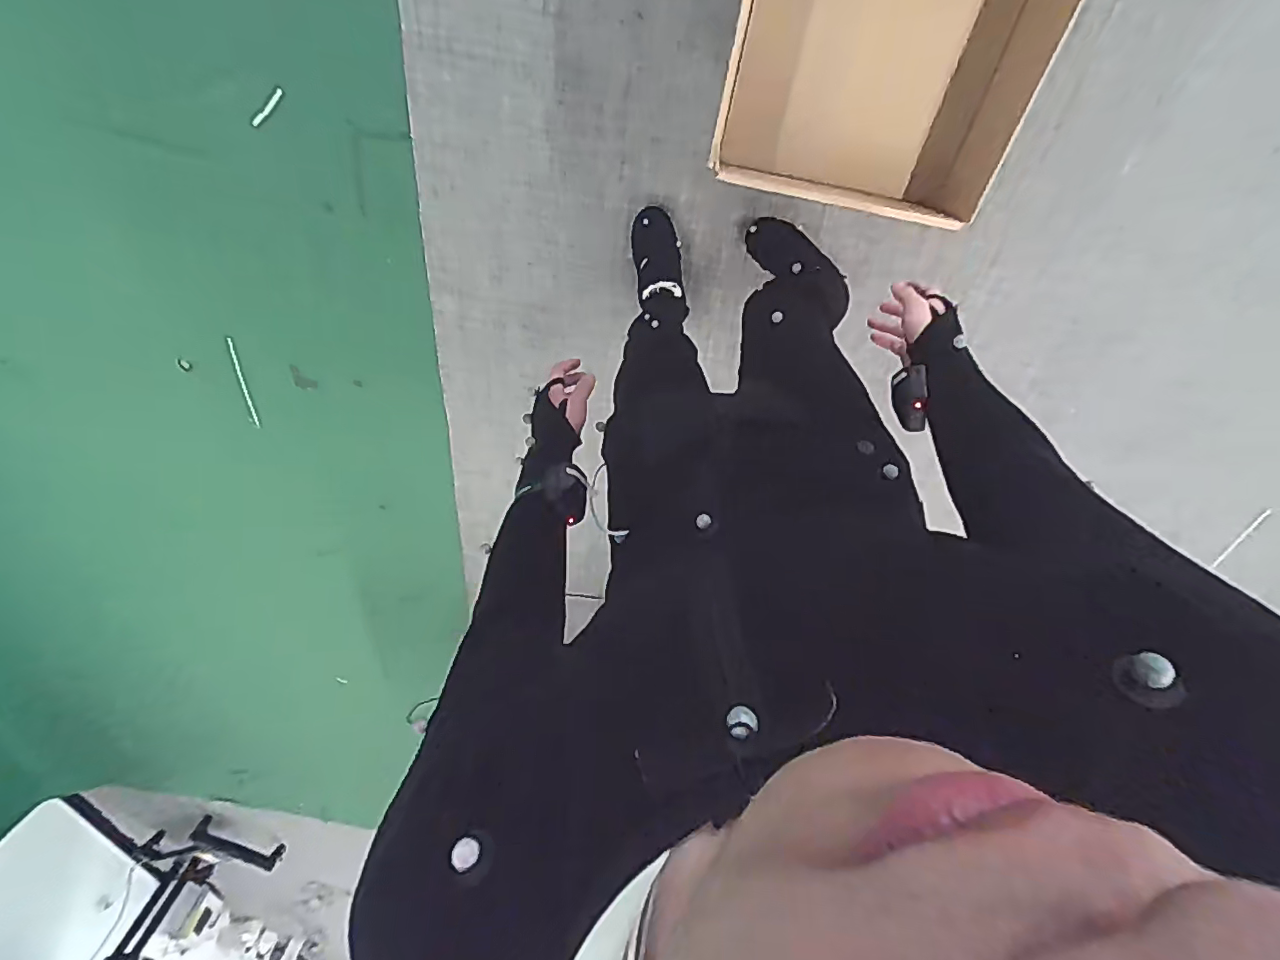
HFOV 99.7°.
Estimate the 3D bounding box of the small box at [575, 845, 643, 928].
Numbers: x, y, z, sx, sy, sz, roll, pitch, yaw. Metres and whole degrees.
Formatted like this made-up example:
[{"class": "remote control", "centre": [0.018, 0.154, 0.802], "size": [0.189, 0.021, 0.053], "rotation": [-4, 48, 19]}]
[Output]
[{"class": "small box", "centre": [-0.091, 1.274, 1.699], "size": [0.168, 0.176, 0.179], "rotation": [-8, 124, 13]}]
